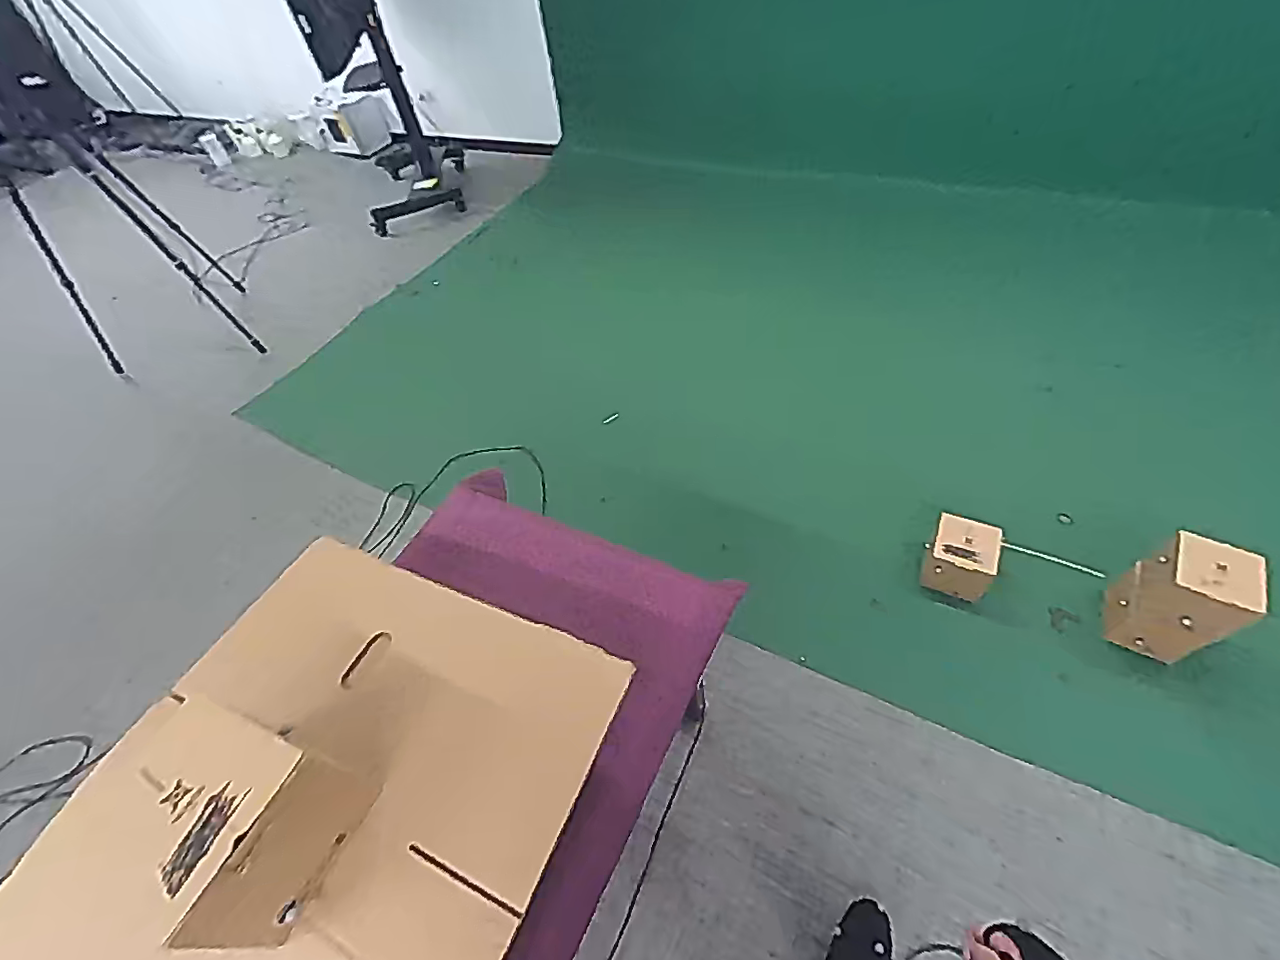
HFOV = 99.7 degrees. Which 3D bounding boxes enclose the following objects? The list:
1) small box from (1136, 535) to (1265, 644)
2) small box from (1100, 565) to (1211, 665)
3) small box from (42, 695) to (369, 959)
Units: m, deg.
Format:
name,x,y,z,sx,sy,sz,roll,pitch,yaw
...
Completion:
name,x,y,z,sx,sy,sz,roll,pitch,yaw
small box,1.388,0.274,1.348,0.168,0.176,0.179,24,59,24
small box,1.405,0.372,1.479,0.168,0.176,0.179,22,58,23
small box,-0.435,0.364,0.576,0.179,0.176,0.168,15,53,20
